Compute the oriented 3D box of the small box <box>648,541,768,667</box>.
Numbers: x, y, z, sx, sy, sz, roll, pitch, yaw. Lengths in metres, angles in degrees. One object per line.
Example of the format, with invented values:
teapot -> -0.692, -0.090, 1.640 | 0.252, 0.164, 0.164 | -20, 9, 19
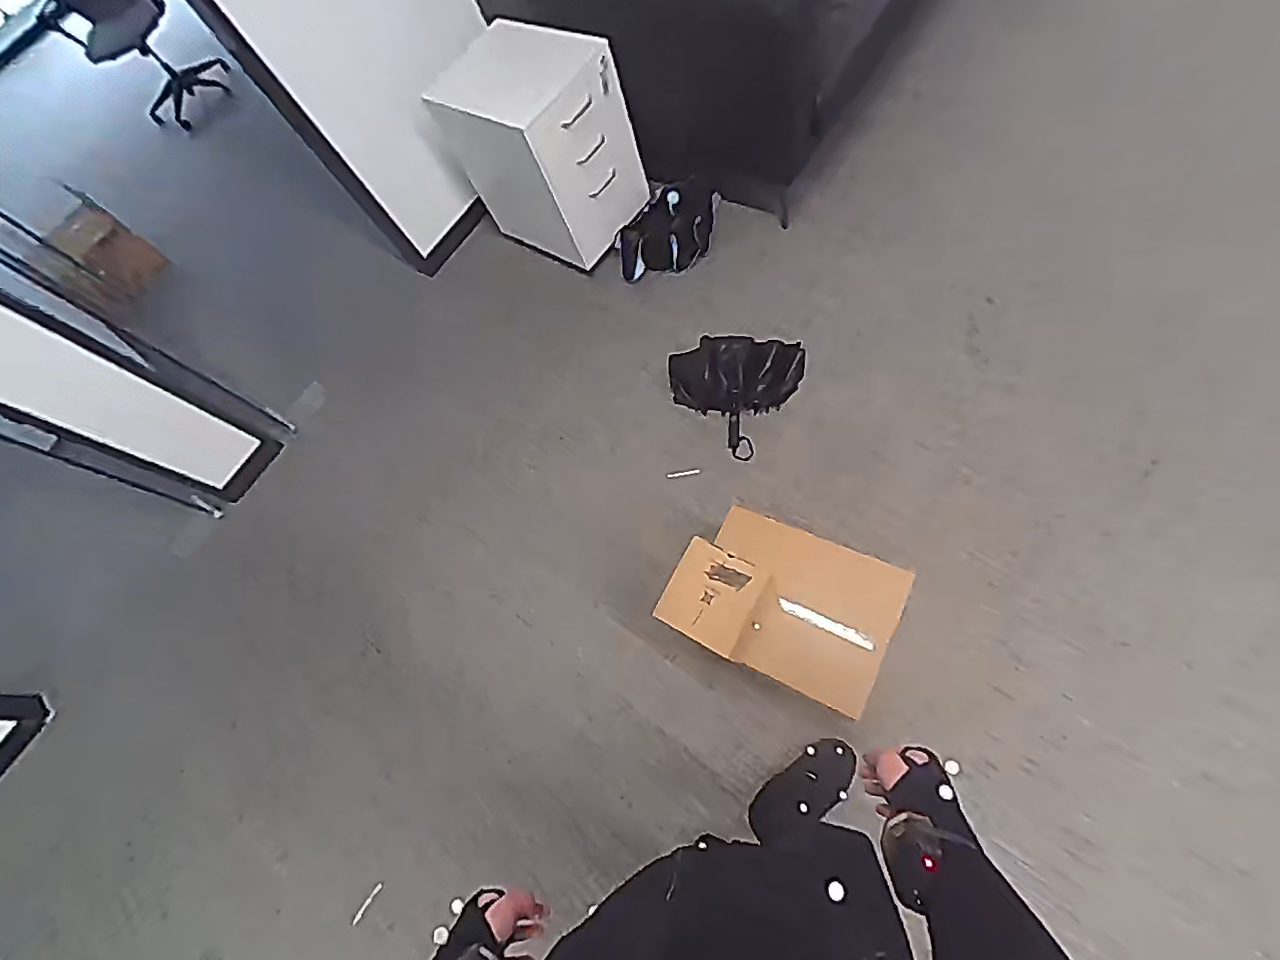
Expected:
small box -> 0.142, 0.250, 1.070 | 0.168, 0.176, 0.179 | 25, 79, 25
